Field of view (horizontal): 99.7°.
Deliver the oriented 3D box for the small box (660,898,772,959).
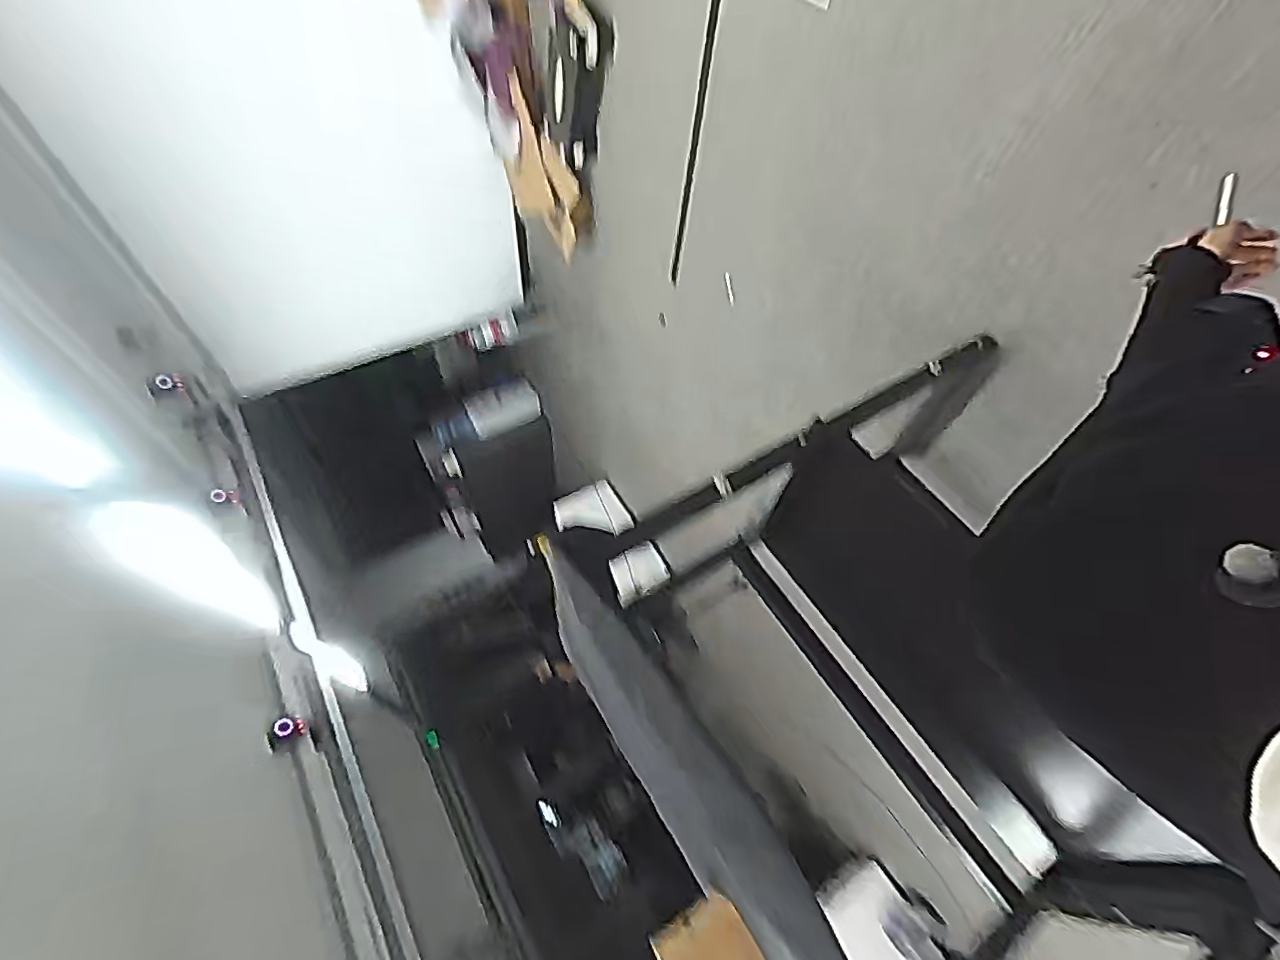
[{"bbox_3d":[0.164,0.955,1.041,0.179,0.176,0.168,53,157,24],"label":"small box"}]
